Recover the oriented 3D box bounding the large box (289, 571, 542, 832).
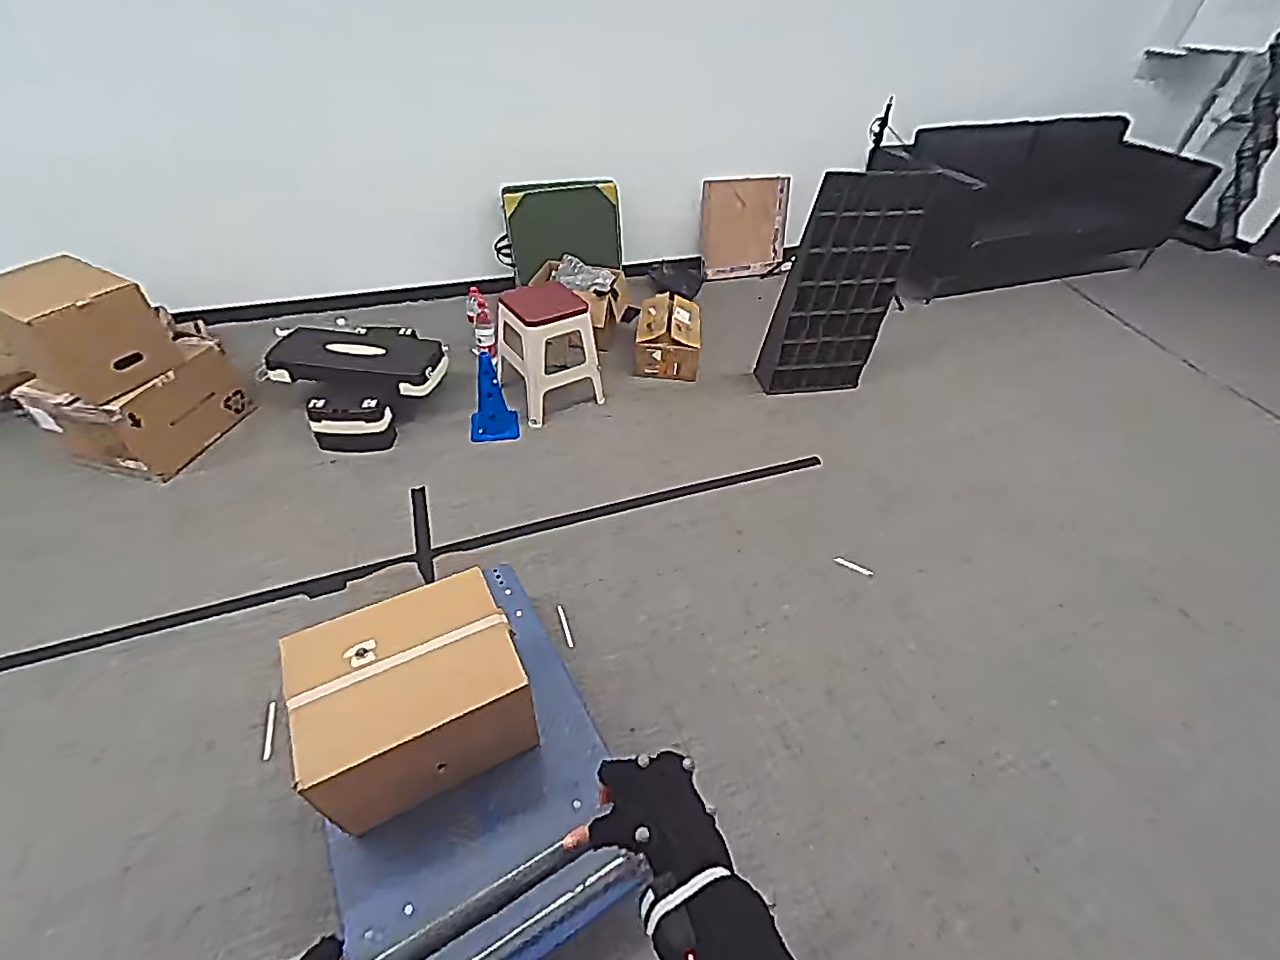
[{"bbox_3d":[-0.461,0.466,1.165,0.408,0.320,0.320,-19,49,-22],"label":"large box"}]
